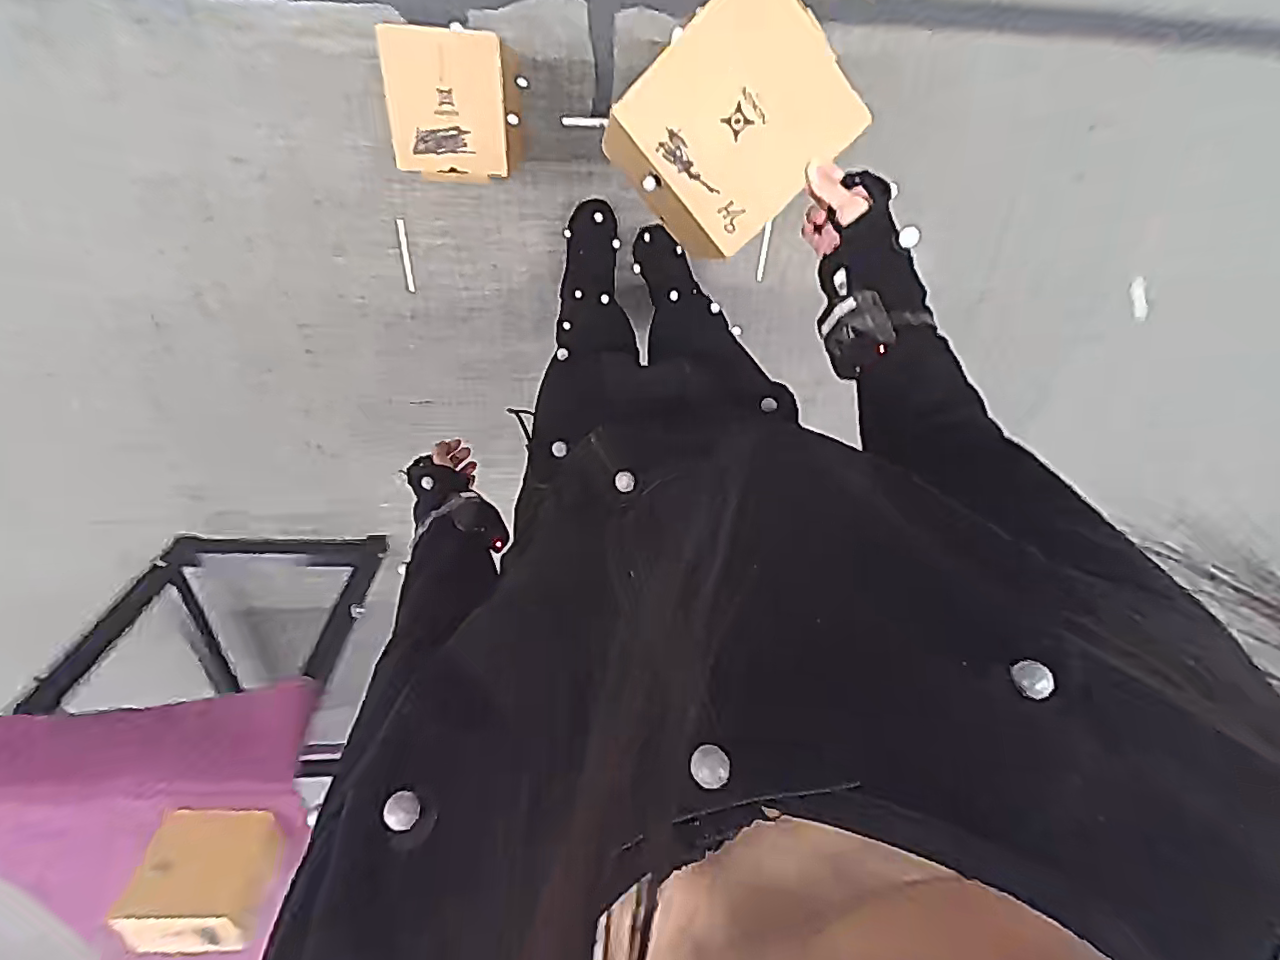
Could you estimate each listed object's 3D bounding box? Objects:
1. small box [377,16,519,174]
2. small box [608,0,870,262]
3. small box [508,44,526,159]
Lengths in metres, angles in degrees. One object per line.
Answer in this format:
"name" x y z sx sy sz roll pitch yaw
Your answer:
"small box" -0.282 -0.586 0.838 0.168 0.176 0.179 0 123 -7
"small box" 0.083 -0.348 0.546 0.179 0.176 0.168 -43 112 10
"small box" -0.303 -0.679 0.972 0.179 0.176 0.168 -2 124 -4
